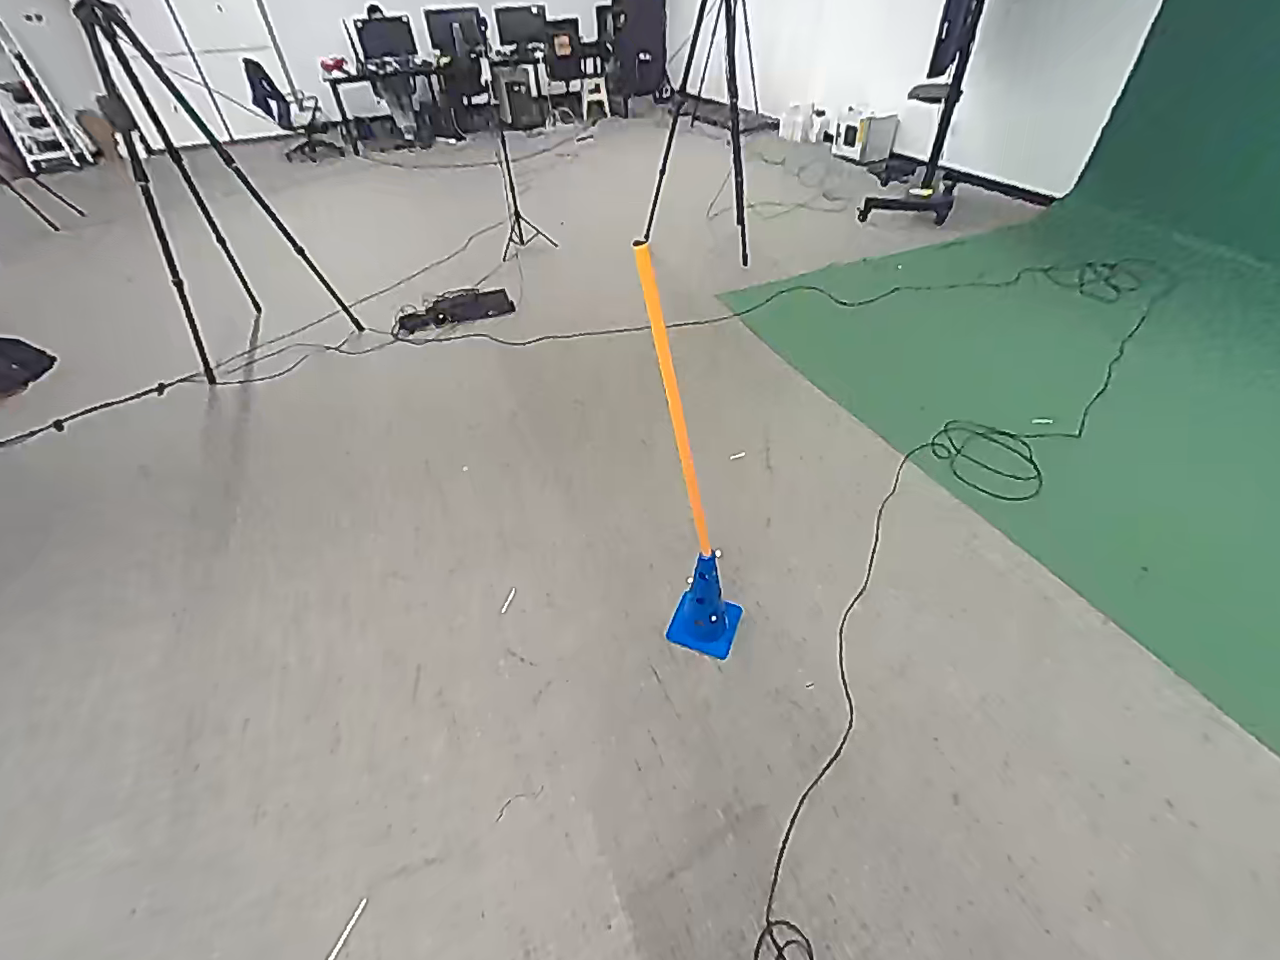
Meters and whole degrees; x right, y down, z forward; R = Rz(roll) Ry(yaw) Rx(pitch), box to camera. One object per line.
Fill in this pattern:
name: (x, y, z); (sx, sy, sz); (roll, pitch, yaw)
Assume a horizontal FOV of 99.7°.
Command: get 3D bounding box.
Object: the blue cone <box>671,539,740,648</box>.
blue cone: (0.191, 0.309, 1.563); (0.193, 0.380, 0.192); (12, 48, 18)
